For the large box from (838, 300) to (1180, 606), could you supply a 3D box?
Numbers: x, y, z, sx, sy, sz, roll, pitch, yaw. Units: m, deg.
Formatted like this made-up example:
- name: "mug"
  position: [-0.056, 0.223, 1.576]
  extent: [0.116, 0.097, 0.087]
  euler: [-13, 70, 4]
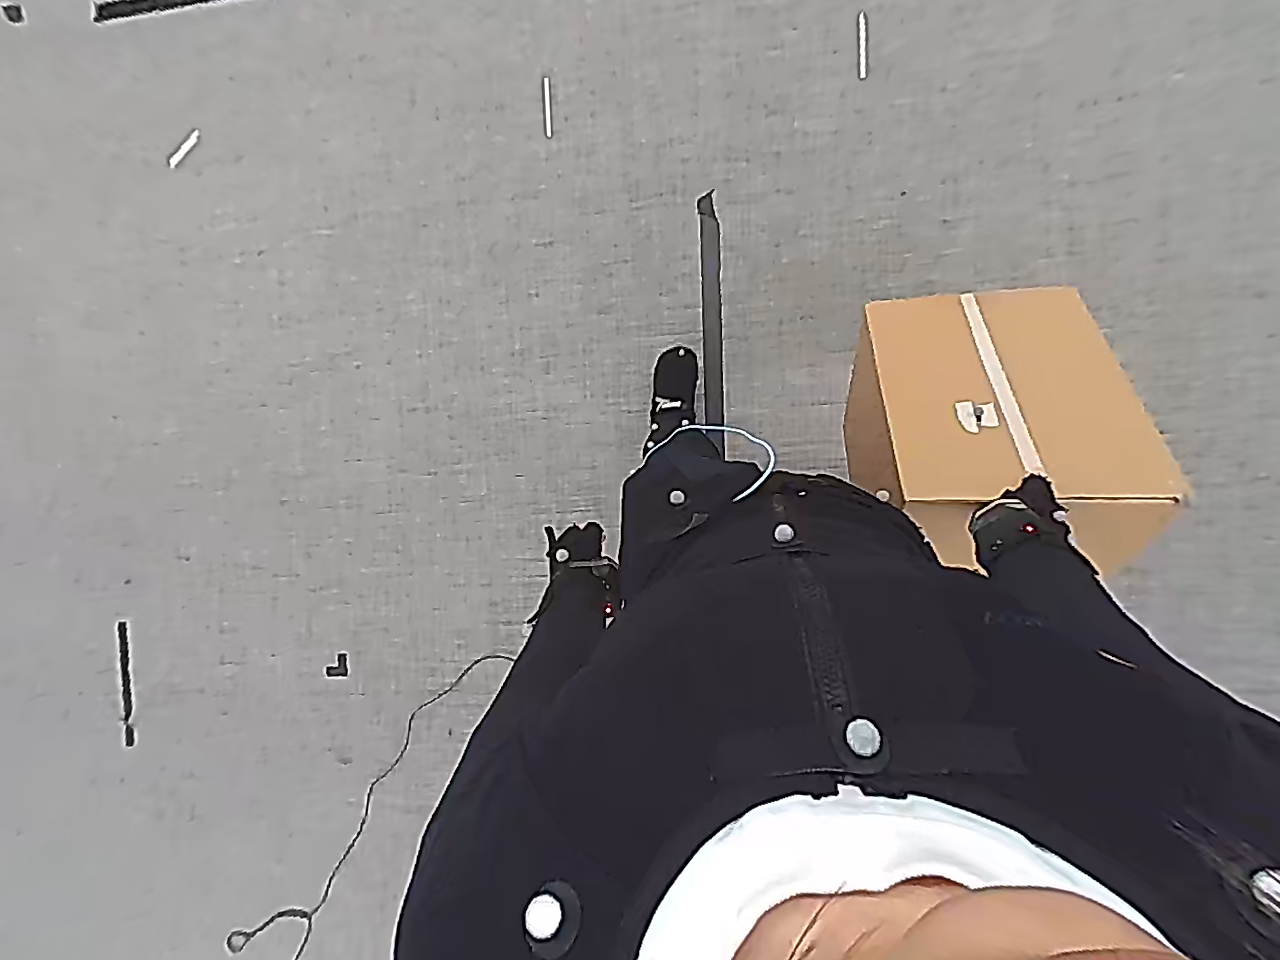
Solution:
- name: "large box"
  position: [0.530, -0.040, 0.898]
  extent: [0.320, 0.320, 0.408]
  euler: [-2, 54, 12]
